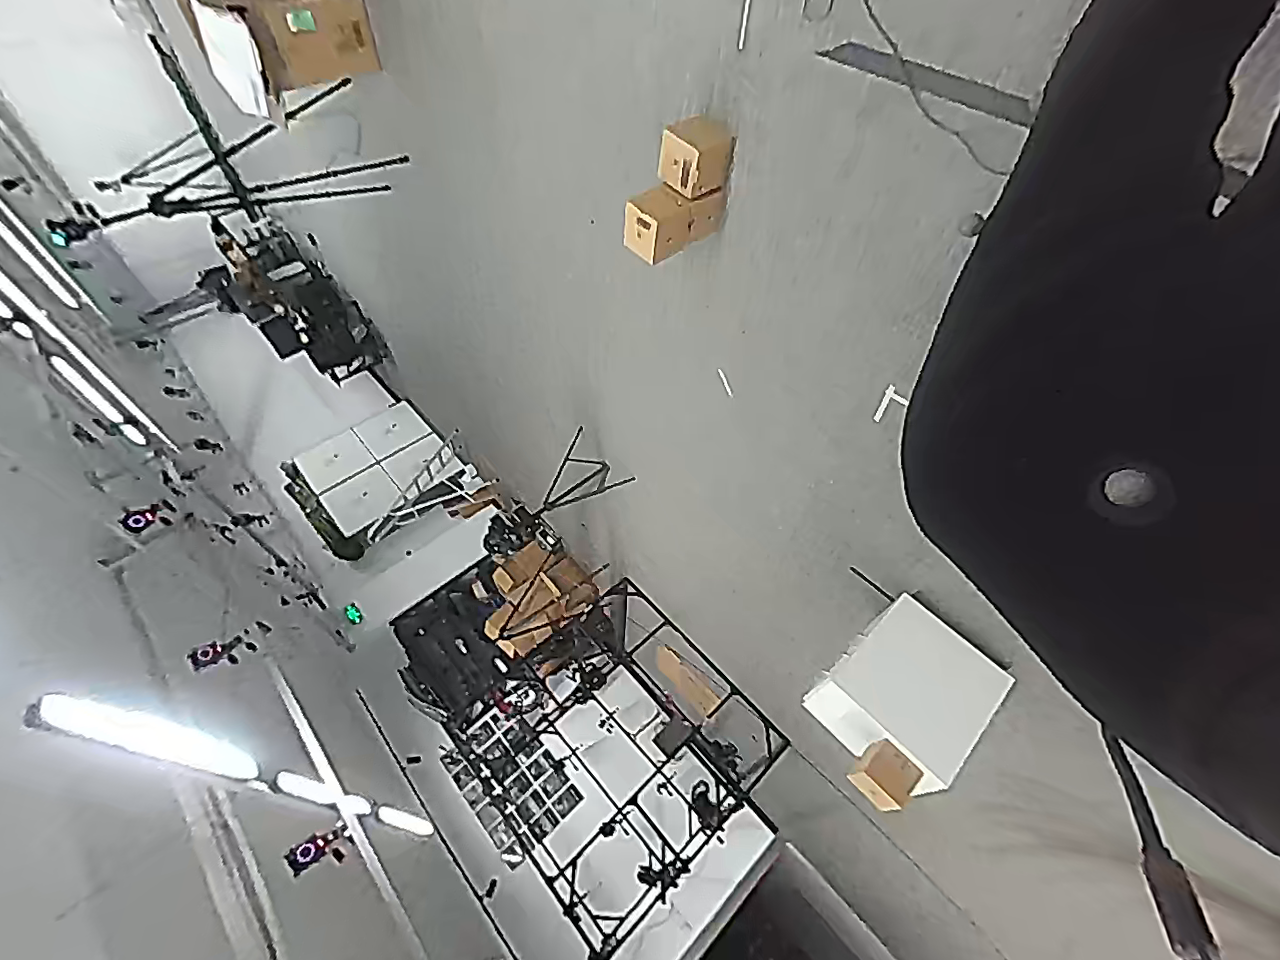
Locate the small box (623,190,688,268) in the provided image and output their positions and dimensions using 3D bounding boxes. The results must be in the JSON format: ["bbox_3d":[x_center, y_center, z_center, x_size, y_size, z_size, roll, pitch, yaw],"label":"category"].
[{"bbox_3d":[0.056,-0.920,1.972,0.168,0.176,0.179,44,155,21],"label":"small box"}]

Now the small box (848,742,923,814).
[{"bbox_3d":[0.925,1.119,2.034,0.168,0.176,0.179,42,153,22],"label":"small box"}]
